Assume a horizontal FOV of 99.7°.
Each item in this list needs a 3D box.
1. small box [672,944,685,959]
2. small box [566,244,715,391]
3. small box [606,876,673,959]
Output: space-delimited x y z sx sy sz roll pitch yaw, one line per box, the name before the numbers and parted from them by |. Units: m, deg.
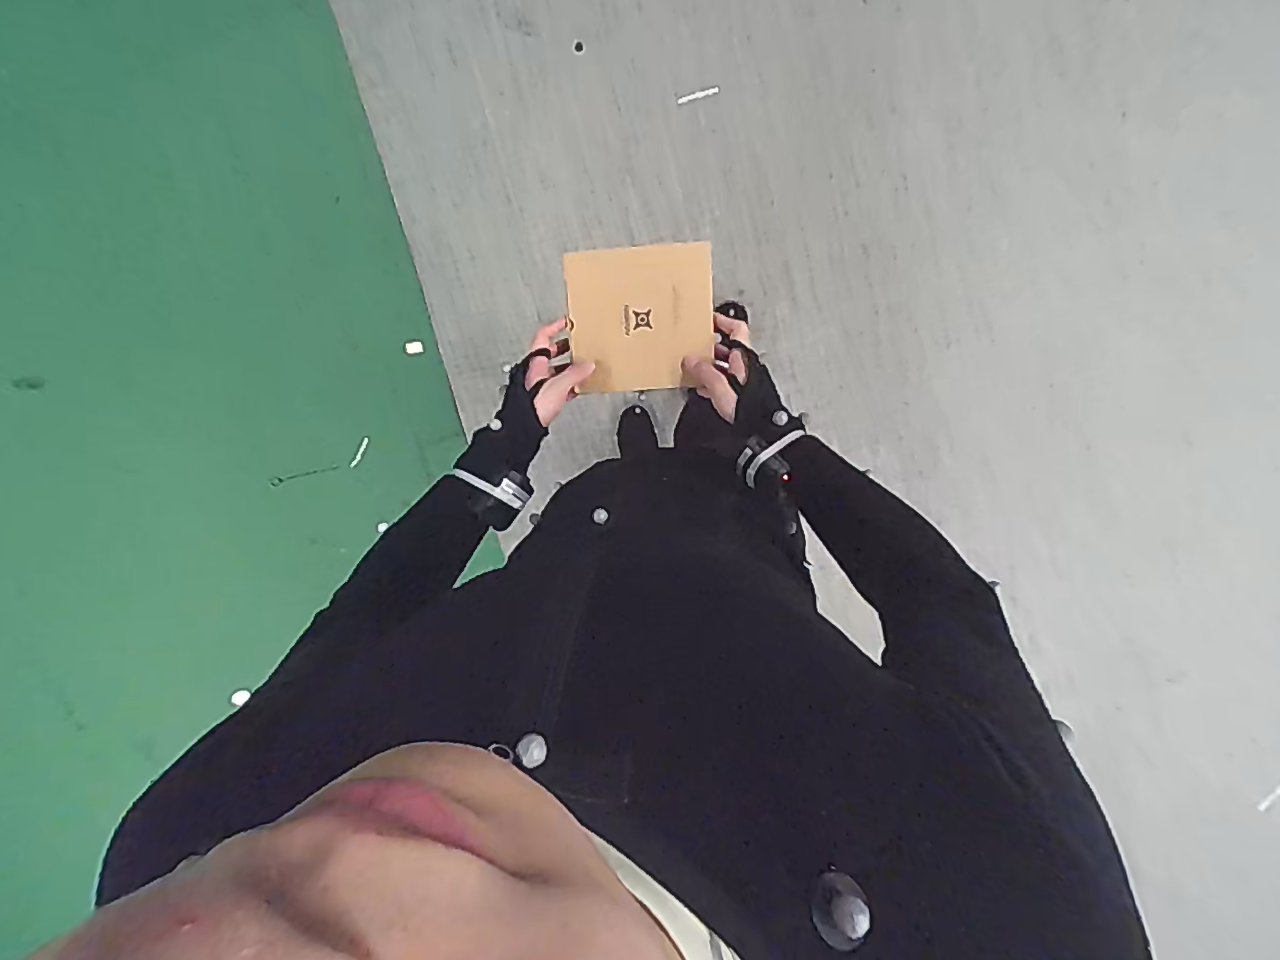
small box | 0.072 1.616 1.695 0.168 0.176 0.179 -14 101 4
small box | 0.008 -0.204 0.721 0.179 0.176 0.168 -2 101 4
small box | 0.001 1.361 1.664 0.168 0.176 0.179 -14 101 6
